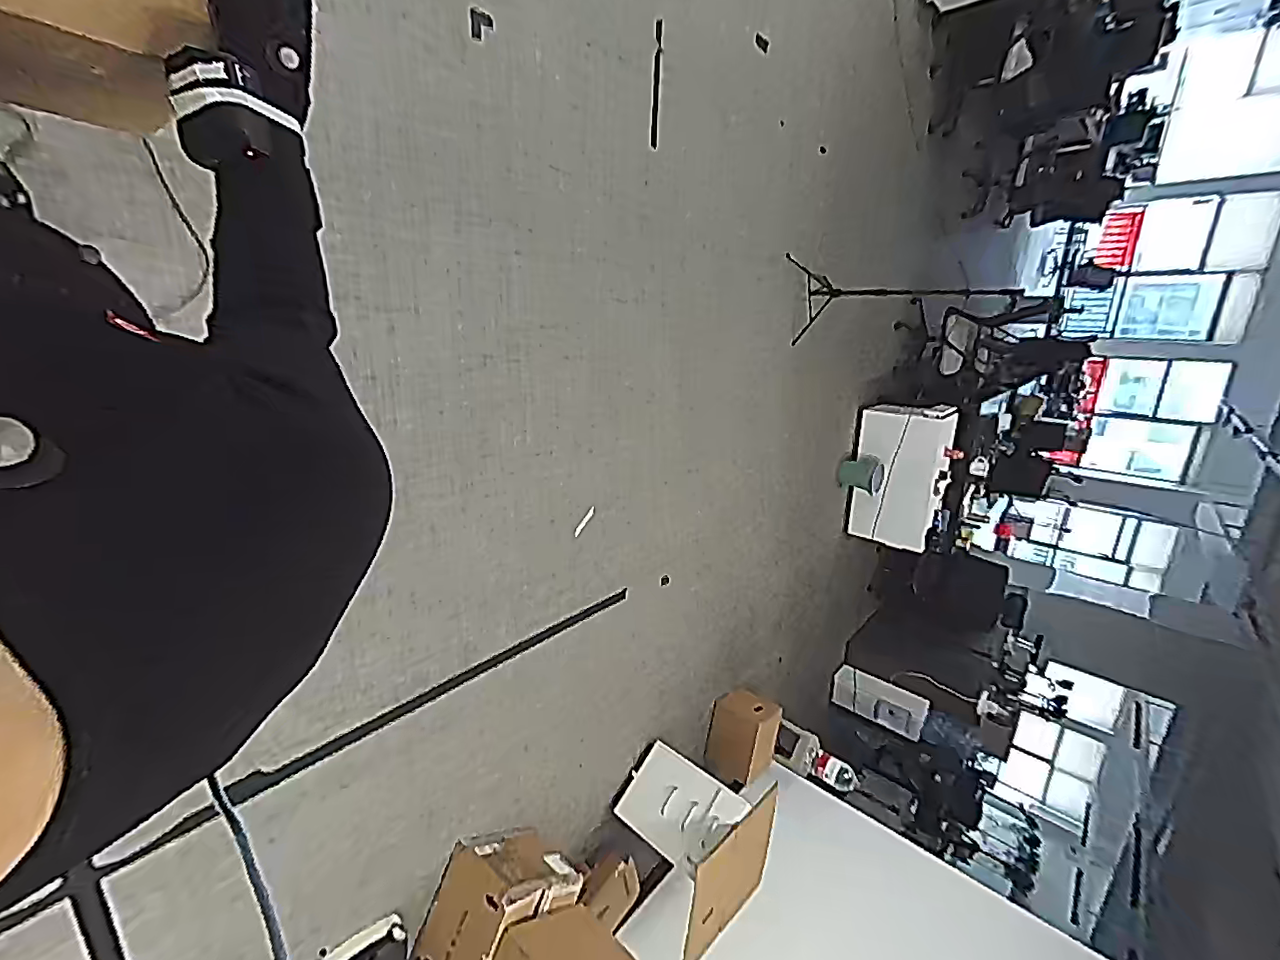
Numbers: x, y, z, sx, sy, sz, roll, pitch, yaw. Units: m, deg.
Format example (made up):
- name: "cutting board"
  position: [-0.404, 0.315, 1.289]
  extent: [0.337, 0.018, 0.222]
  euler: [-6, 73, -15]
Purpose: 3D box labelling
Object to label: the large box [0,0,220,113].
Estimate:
- name: "large box"
  position: [-0.550, -0.471, 0.313]
  extent: [0.408, 0.320, 0.320]
  euler: [-14, 116, -48]
